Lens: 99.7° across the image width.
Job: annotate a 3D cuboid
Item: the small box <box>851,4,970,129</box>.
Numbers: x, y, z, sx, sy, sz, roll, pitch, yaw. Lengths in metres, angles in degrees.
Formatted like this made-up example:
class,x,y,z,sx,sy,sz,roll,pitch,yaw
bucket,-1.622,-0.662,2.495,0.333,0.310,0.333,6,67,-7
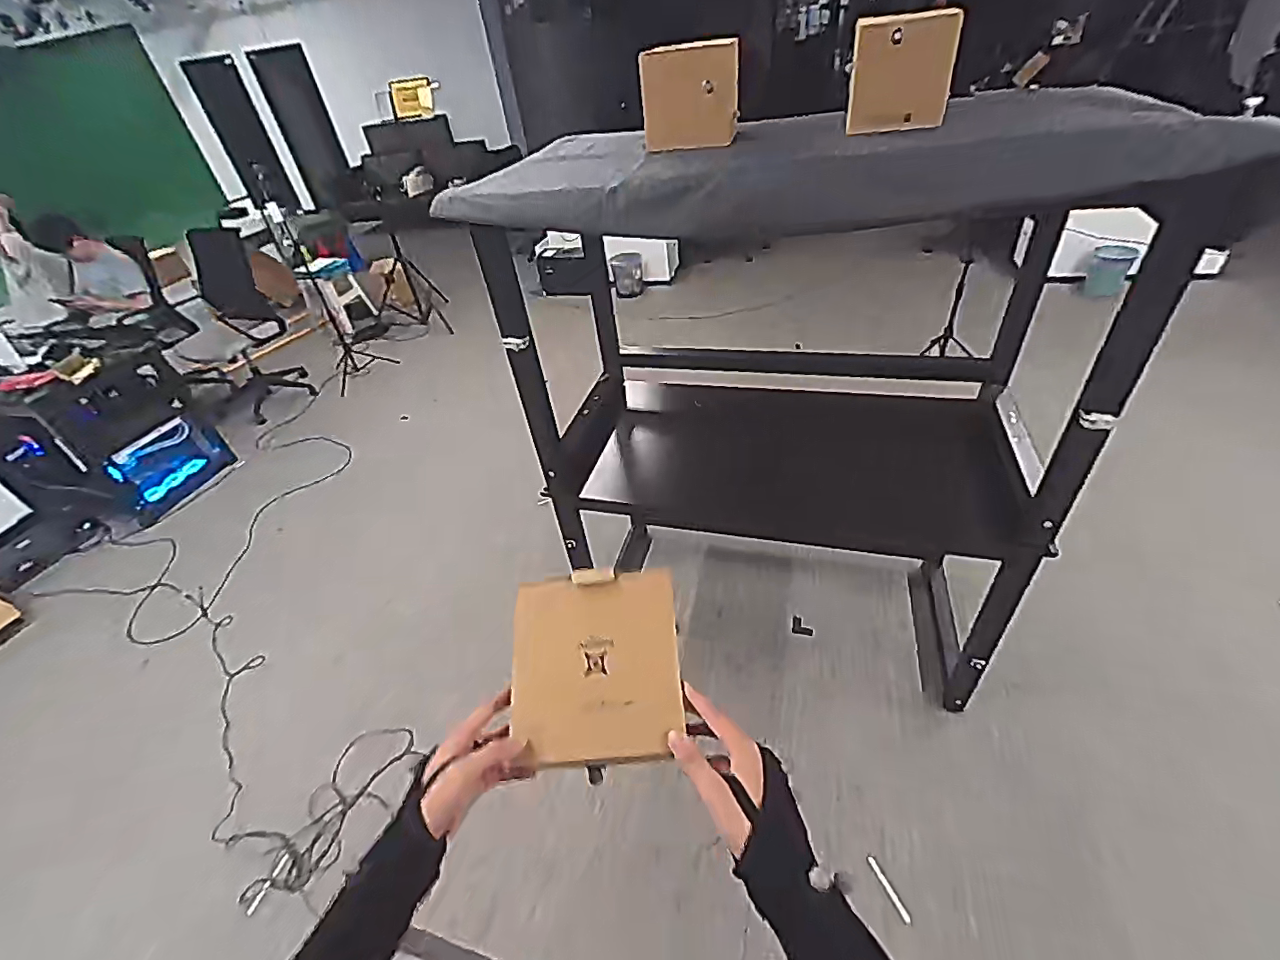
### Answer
class,x,y,z,sx,sy,sz,roll,pitch,yaw
small box,0.496,-0.775,1.021,0.168,0.176,0.179,5,41,16

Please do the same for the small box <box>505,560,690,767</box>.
class,x,y,z,sx,sy,sz,roll,pitch,yaw
small box,-0.039,0.202,0.584,0.168,0.176,0.179,-3,59,0
